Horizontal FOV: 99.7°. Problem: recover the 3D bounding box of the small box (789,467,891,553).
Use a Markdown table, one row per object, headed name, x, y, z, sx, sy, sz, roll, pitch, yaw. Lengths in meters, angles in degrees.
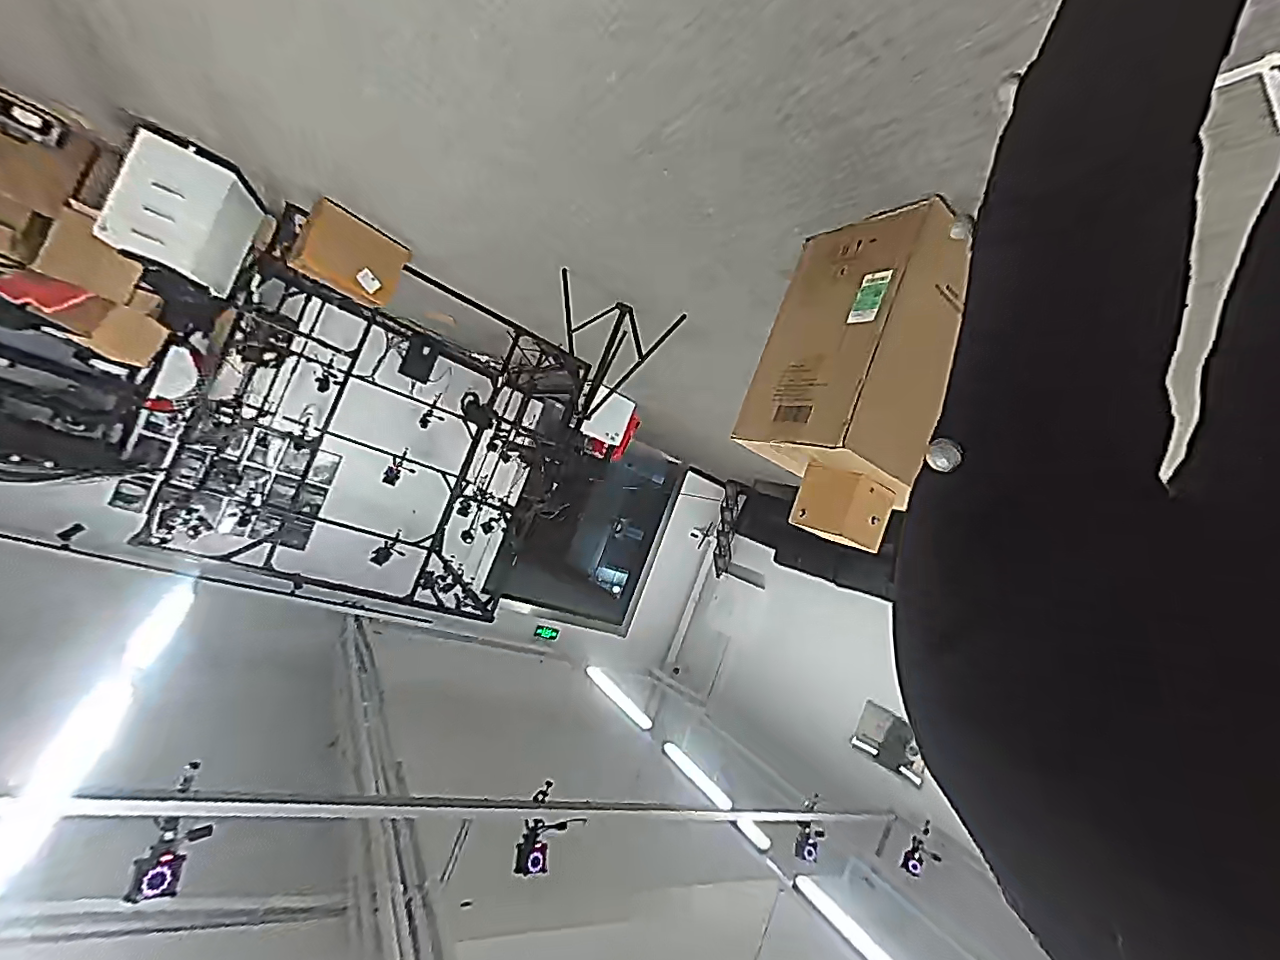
| name | x | y | z | sx | sy | sz | roll | pitch | yaw |
| --- | --- | --- | --- | --- | --- | --- | --- | --- | --- |
| small box | 0.529 | 0.073 | 1.411 | 0.168 | 0.176 | 0.179 | 23 | 176 | -33 |
